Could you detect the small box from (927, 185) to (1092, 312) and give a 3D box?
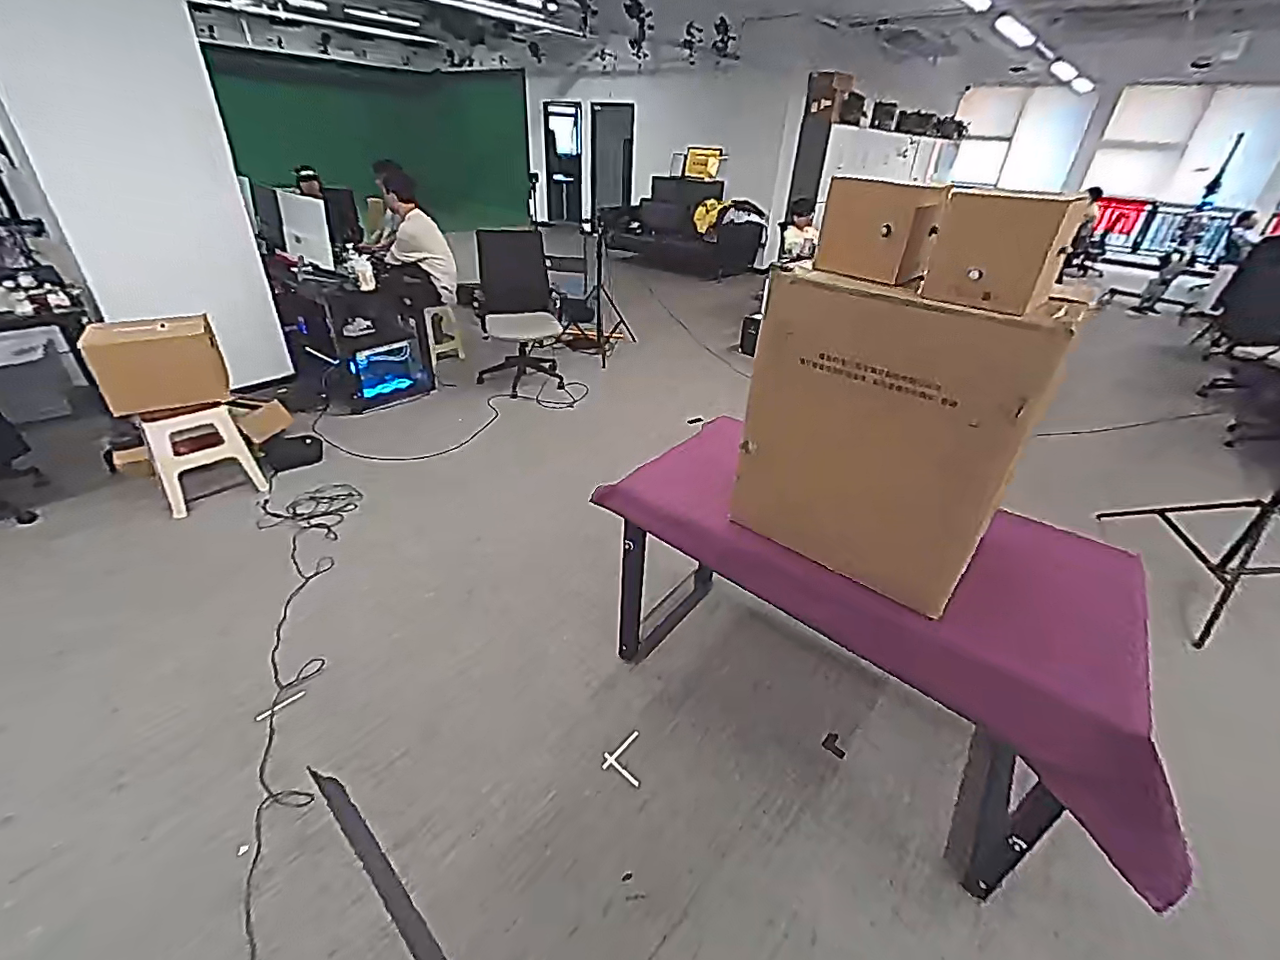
[{"bbox_3d":[0.611,-0.392,0.907,0.168,0.176,0.179,27,39,35],"label":"small box"}]

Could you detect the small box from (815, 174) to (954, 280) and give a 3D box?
[{"bbox_3d":[0.473,-0.496,1.060,0.179,0.176,0.168,28,39,33],"label":"small box"}]
